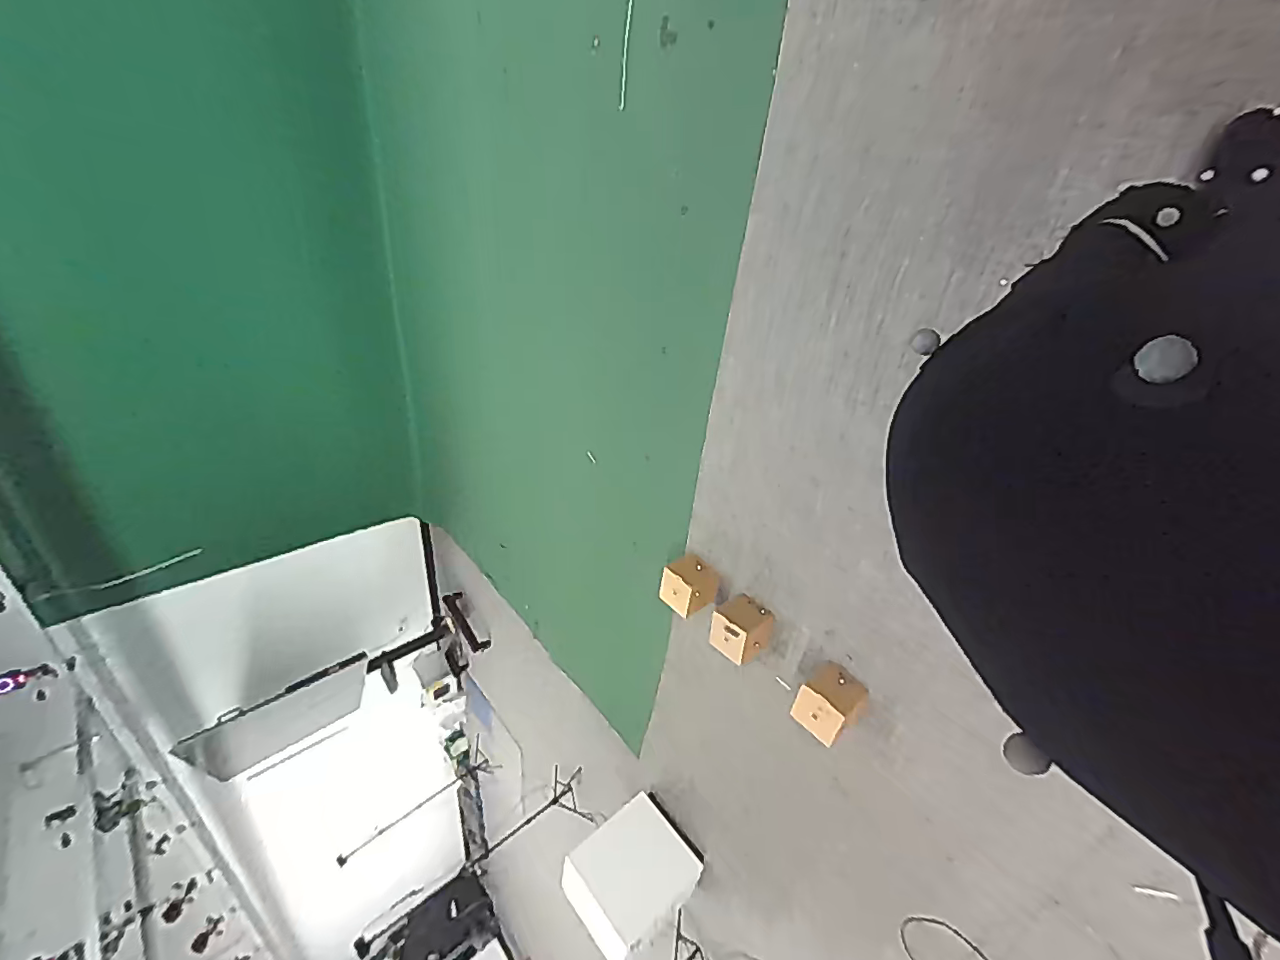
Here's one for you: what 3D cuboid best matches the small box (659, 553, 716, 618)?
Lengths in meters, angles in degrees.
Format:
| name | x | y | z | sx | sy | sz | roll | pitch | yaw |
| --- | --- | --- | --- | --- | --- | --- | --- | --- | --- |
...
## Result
| name | x | y | z | sx | sy | sz | roll | pitch | yaw |
| --- | --- | --- | --- | --- | --- | --- | --- | --- | --- |
| small box | 0.202 | 0.442 | 2.282 | 0.168 | 0.176 | 0.179 | 34 | 129 | 37 |

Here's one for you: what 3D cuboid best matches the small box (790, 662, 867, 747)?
| name | x | y | z | sx | sy | sz | roll | pitch | yaw |
| --- | --- | --- | --- | --- | --- | --- | --- | --- | --- |
| small box | 0.652 | 0.770 | 1.866 | 0.168 | 0.176 | 0.179 | 35 | 129 | 36 |

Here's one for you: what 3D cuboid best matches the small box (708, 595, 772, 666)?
| name | x | y | z | sx | sy | sz | roll | pitch | yaw |
| --- | --- | --- | --- | --- | --- | --- | --- | --- | --- |
| small box | 0.392 | 0.579 | 2.106 | 0.168 | 0.176 | 0.179 | 31 | 128 | 40 |
